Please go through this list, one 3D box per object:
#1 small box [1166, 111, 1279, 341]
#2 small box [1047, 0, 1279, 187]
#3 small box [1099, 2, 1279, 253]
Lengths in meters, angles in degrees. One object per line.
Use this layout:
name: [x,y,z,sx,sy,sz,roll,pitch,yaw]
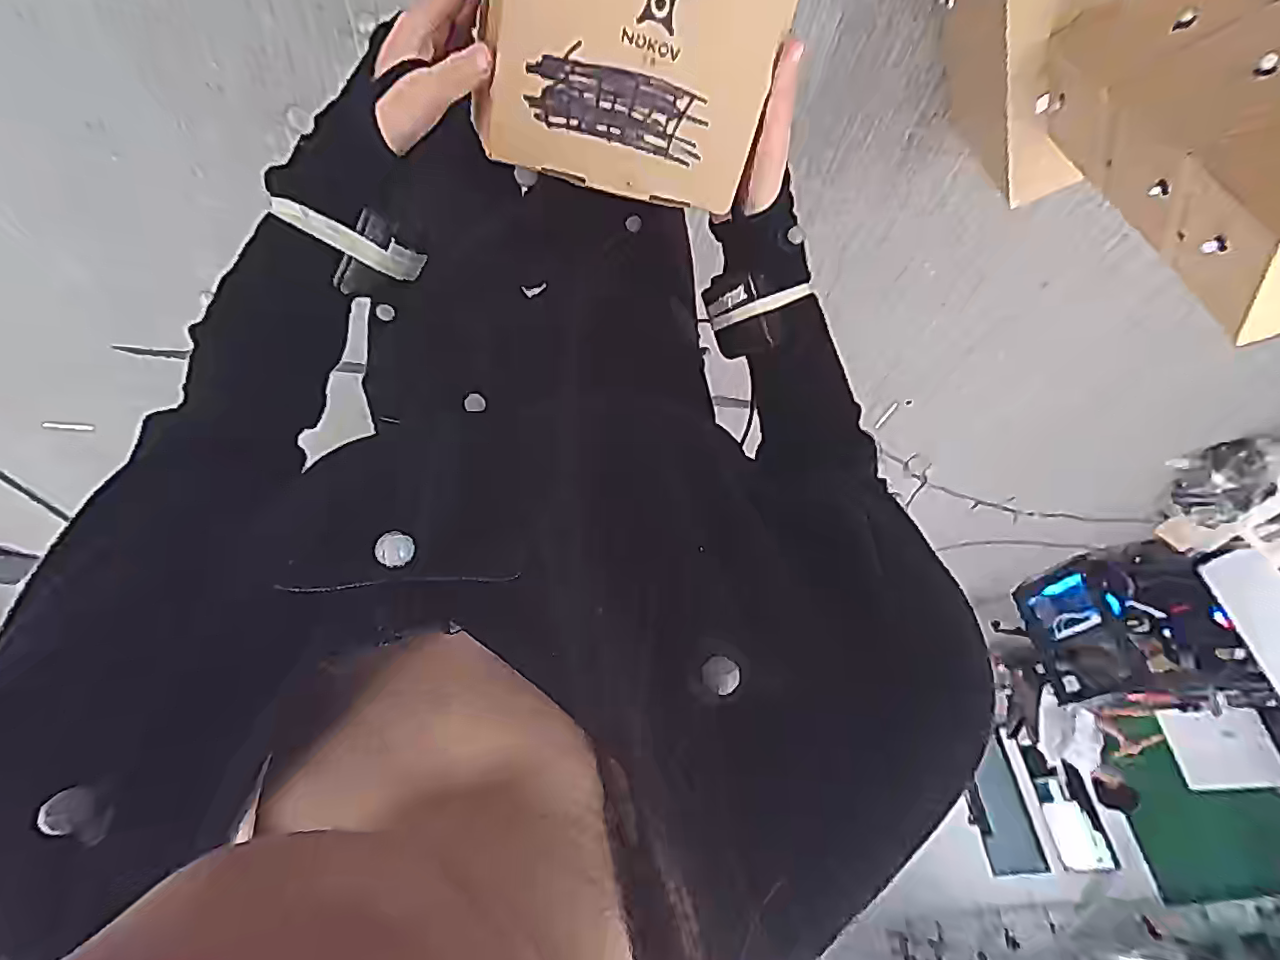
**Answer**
small box: [0.731,-0.293,0.586,0.179,0.176,0.168,-21,143,25]
small box: [0.714,-0.570,0.760,0.179,0.176,0.168,-20,144,25]
small box: [0.724,-0.433,0.670,0.179,0.176,0.168,-21,143,24]
